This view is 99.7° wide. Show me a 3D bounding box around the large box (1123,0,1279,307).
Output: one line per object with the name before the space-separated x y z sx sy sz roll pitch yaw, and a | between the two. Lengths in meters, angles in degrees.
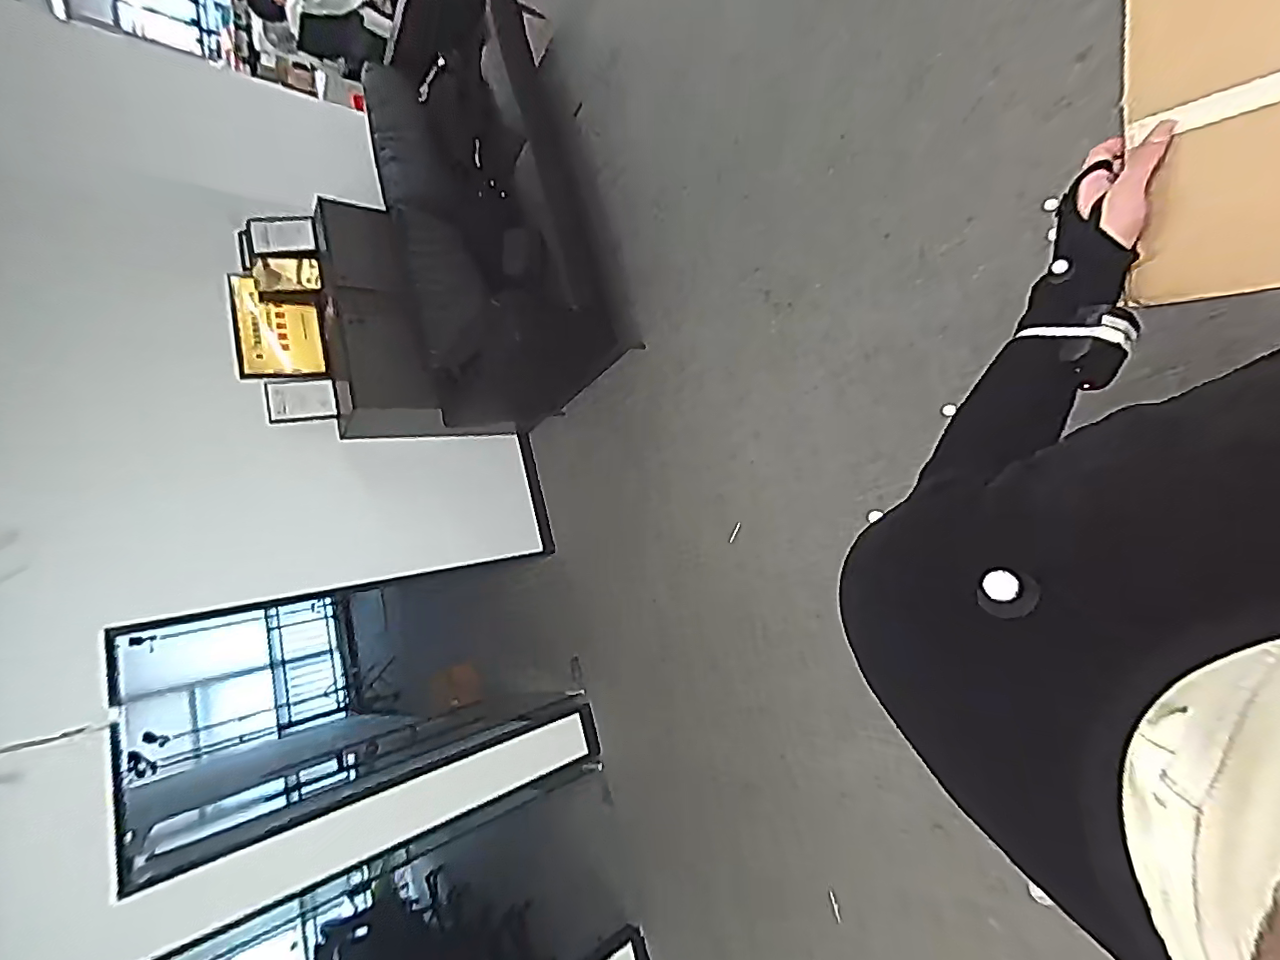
large box | 0.699 -0.349 0.453 0.408 0.320 0.320 3 107 50
